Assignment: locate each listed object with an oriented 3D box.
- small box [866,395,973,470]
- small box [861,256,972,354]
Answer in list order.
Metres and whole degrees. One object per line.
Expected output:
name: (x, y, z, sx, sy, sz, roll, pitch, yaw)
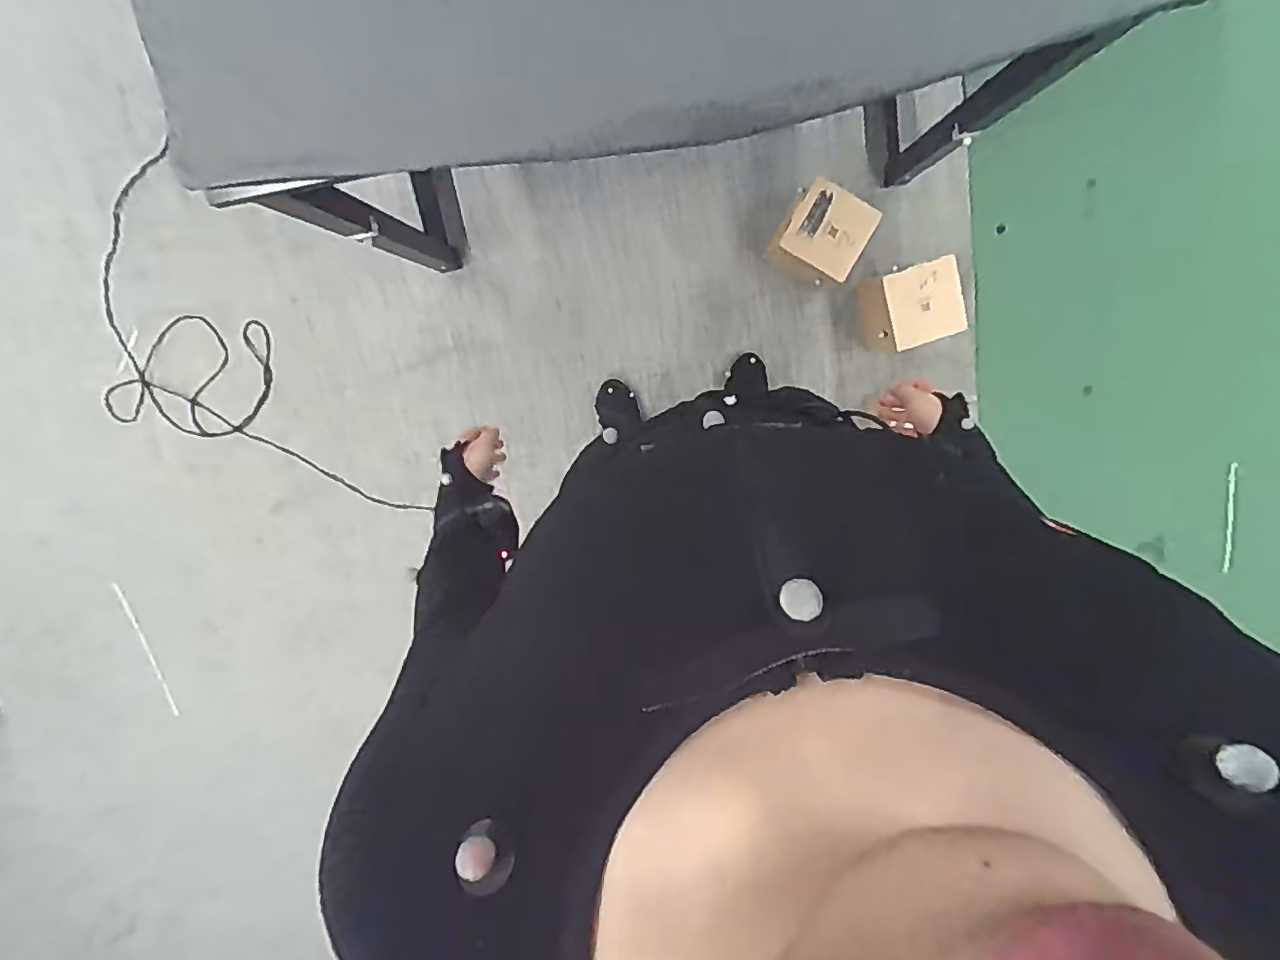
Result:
small box: (0.691, -0.124, 1.356, 0.179, 0.176, 0.168, 0, 104, 2)
small box: (0.653, -0.410, 1.290, 0.168, 0.176, 0.179, -17, 102, 6)
